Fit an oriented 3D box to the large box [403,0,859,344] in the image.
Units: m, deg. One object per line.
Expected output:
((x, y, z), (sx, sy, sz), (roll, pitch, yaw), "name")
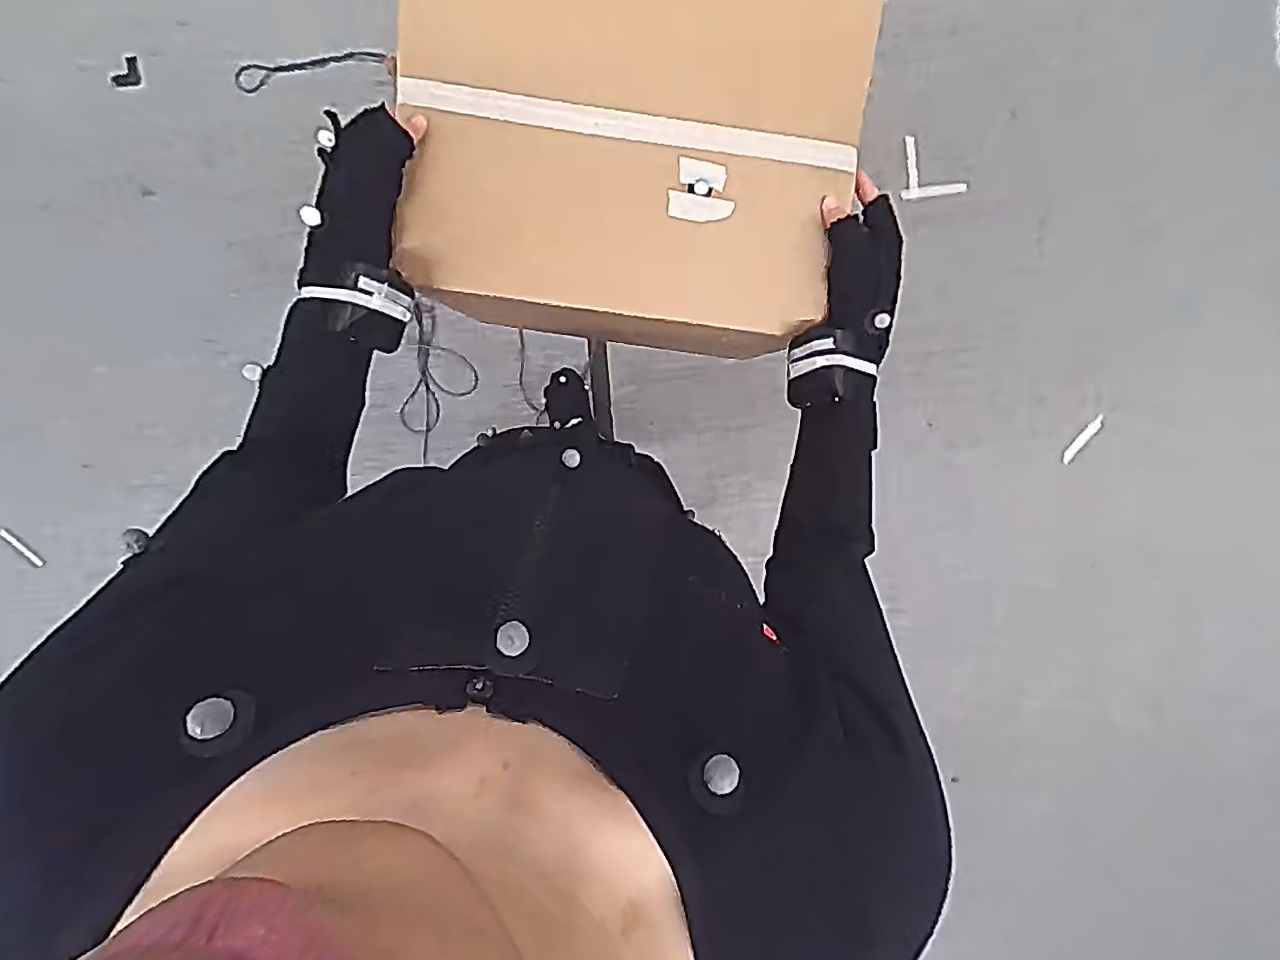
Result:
((-0.021, -0.347, 0.639), (0.408, 0.320, 0.320), (6, 100, -4), "large box")
